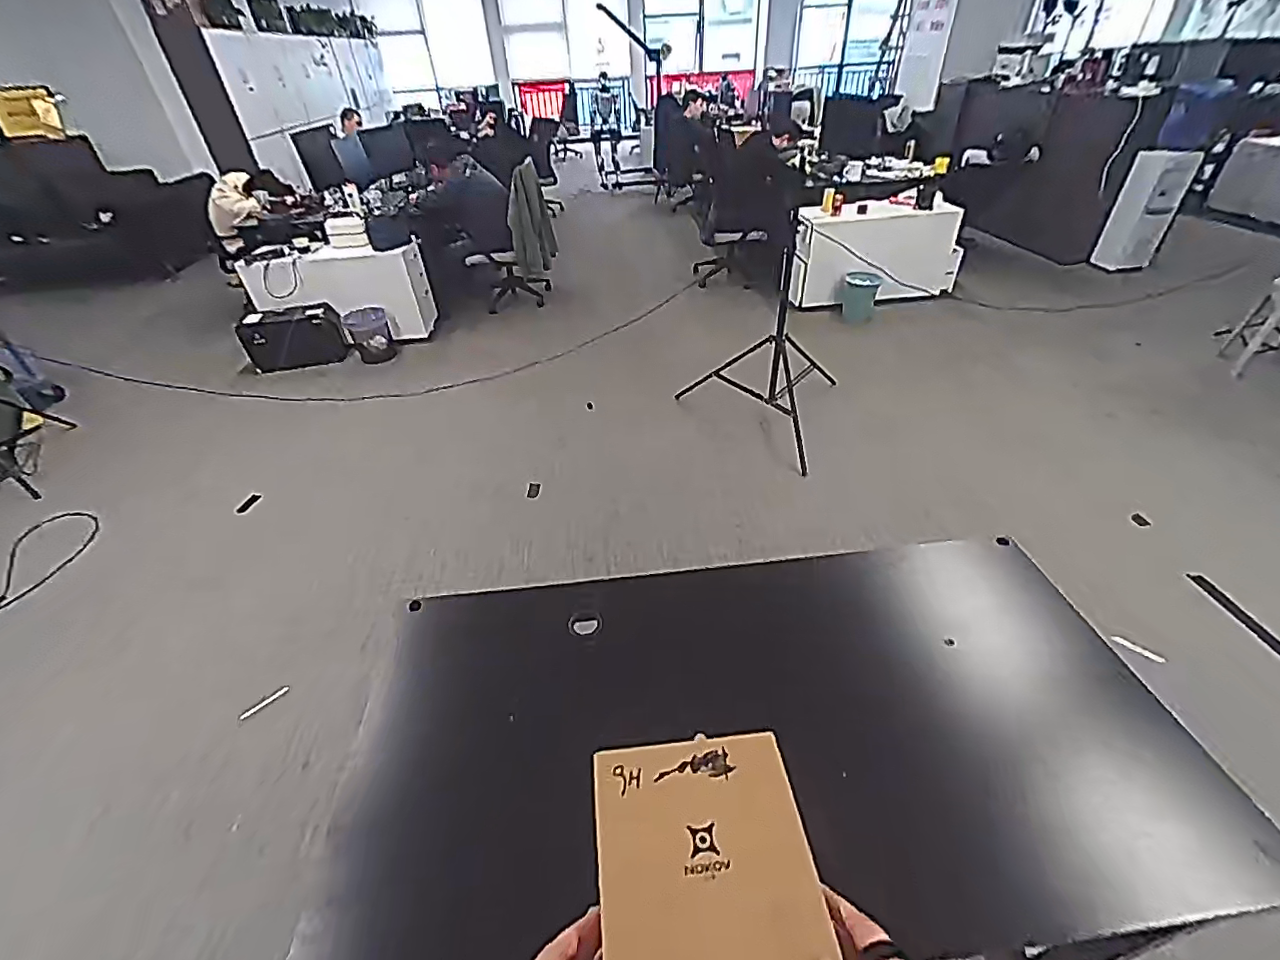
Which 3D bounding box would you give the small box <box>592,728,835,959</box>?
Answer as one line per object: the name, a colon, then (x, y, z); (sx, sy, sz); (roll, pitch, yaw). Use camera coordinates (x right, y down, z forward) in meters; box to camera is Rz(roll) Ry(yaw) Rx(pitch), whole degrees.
small box: (0.049, 0.350, 0.477); (0.168, 0.176, 0.179); (-5, 40, -5)
